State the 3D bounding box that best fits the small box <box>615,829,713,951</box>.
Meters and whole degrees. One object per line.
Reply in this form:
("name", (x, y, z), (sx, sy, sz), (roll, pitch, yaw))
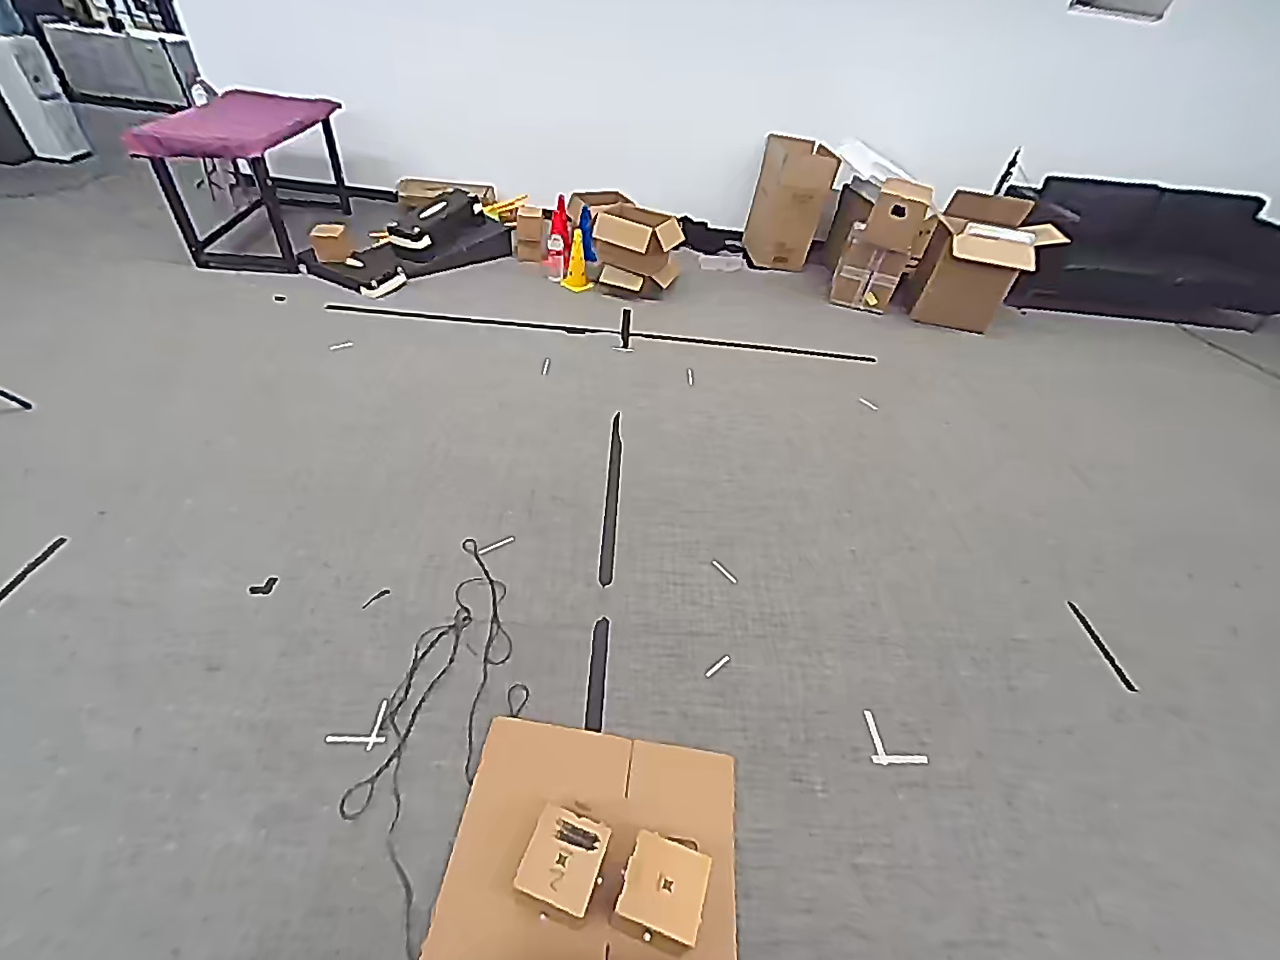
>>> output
("small box", (0.052, 0.944, 1.240), (0.179, 0.176, 0.168), (17, 43, 10))
